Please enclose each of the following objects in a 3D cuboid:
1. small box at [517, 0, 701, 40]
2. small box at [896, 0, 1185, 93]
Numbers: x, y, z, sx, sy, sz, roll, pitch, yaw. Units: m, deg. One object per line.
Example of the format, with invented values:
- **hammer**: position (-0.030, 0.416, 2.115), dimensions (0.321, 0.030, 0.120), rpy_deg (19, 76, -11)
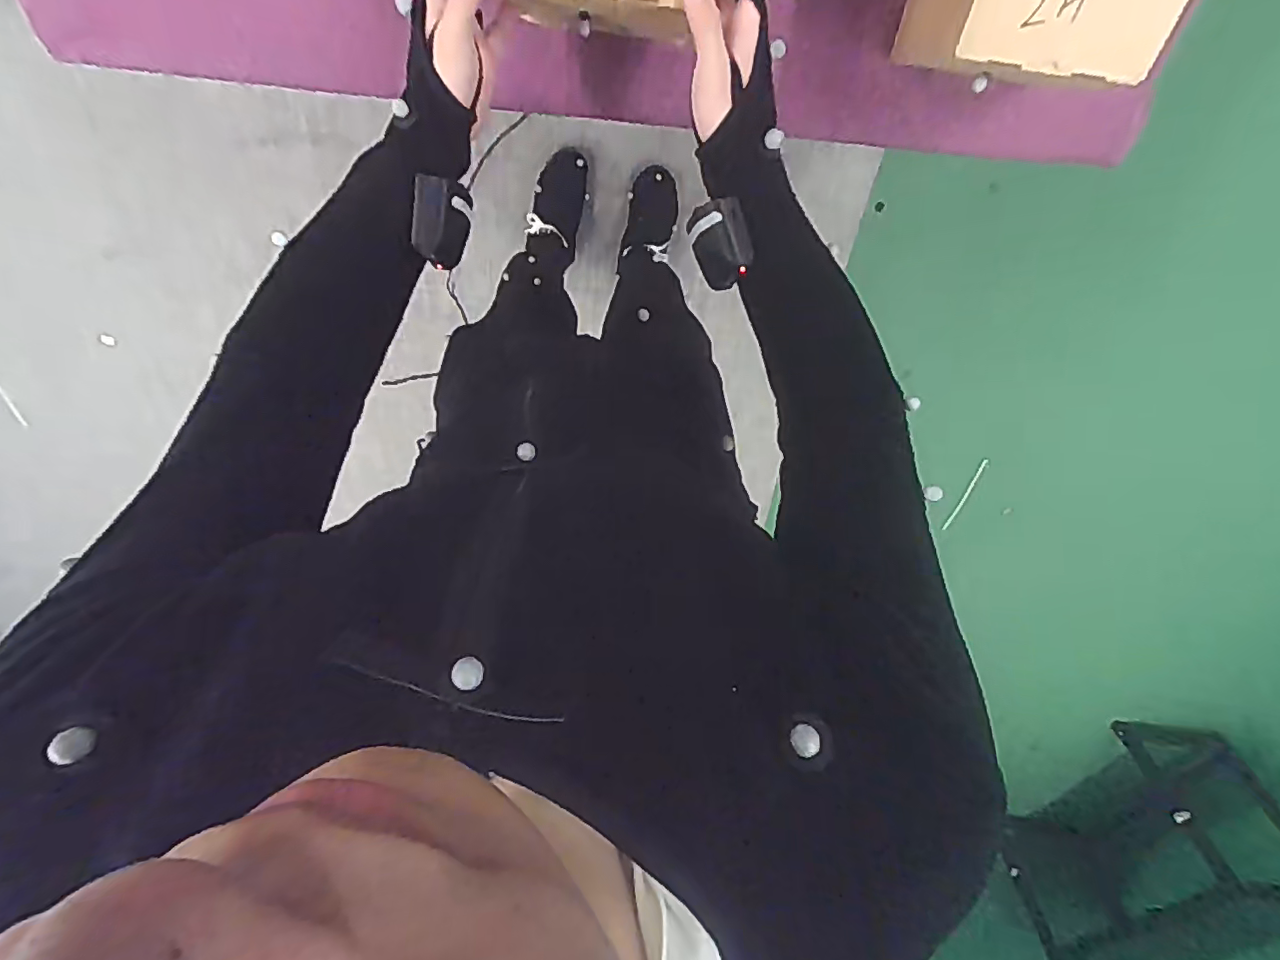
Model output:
- **small box**: position (-0.027, -0.473, 0.417), dimensions (0.168, 0.176, 0.179), rpy_deg (6, 123, -4)
- **small box**: position (0.353, -0.456, 0.469), dimensions (0.168, 0.176, 0.179), rpy_deg (8, 127, -2)
